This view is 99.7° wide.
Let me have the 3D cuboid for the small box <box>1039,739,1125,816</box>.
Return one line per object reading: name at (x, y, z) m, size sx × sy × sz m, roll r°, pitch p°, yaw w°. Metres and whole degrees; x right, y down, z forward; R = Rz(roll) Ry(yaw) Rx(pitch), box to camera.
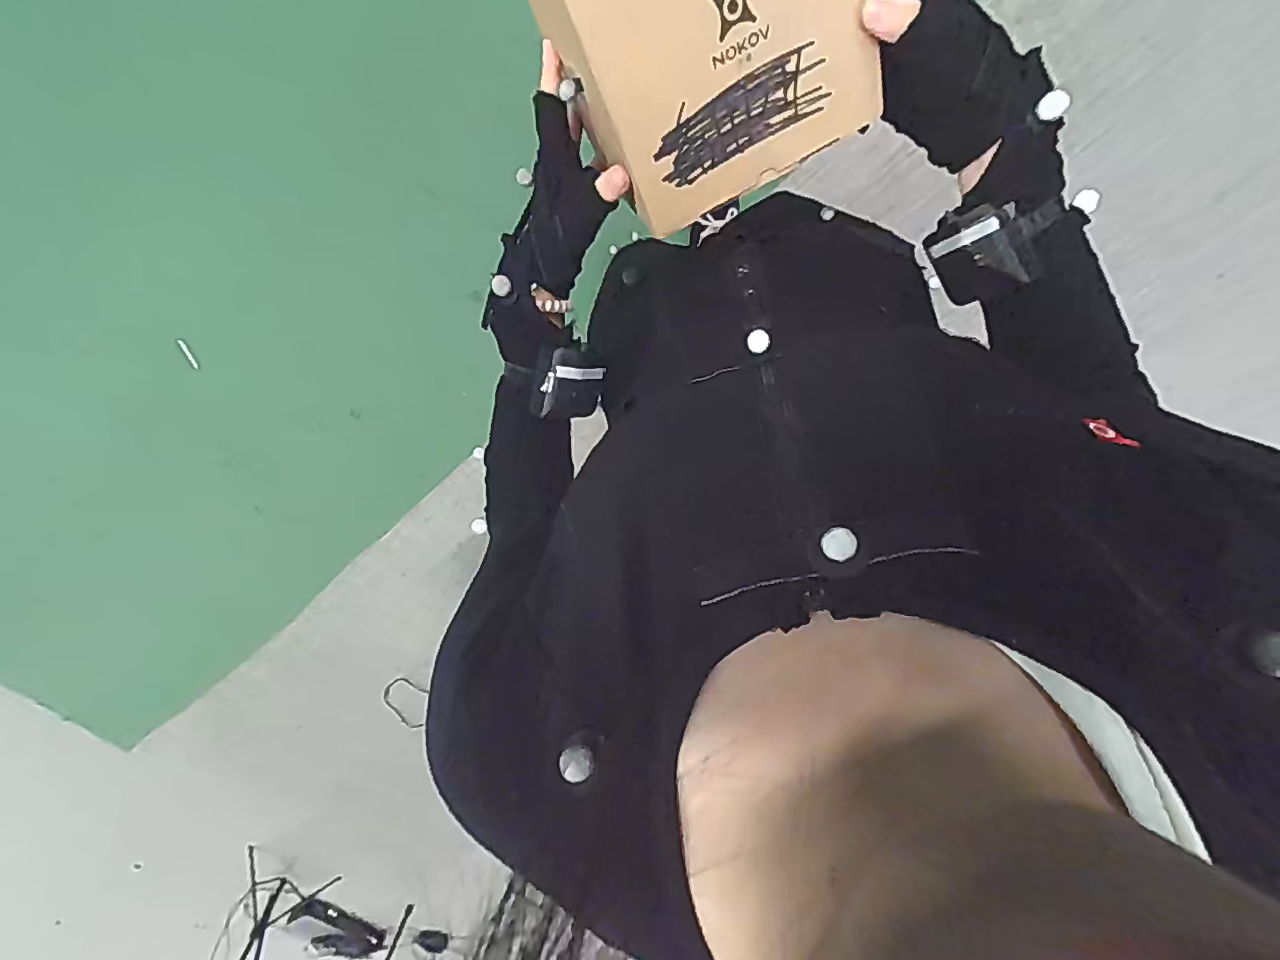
small box at (1.684, 1.140, 2.075) m, size 0.179 × 0.176 × 0.168 m, roll -39°, pitch 110°, yaw 19°
